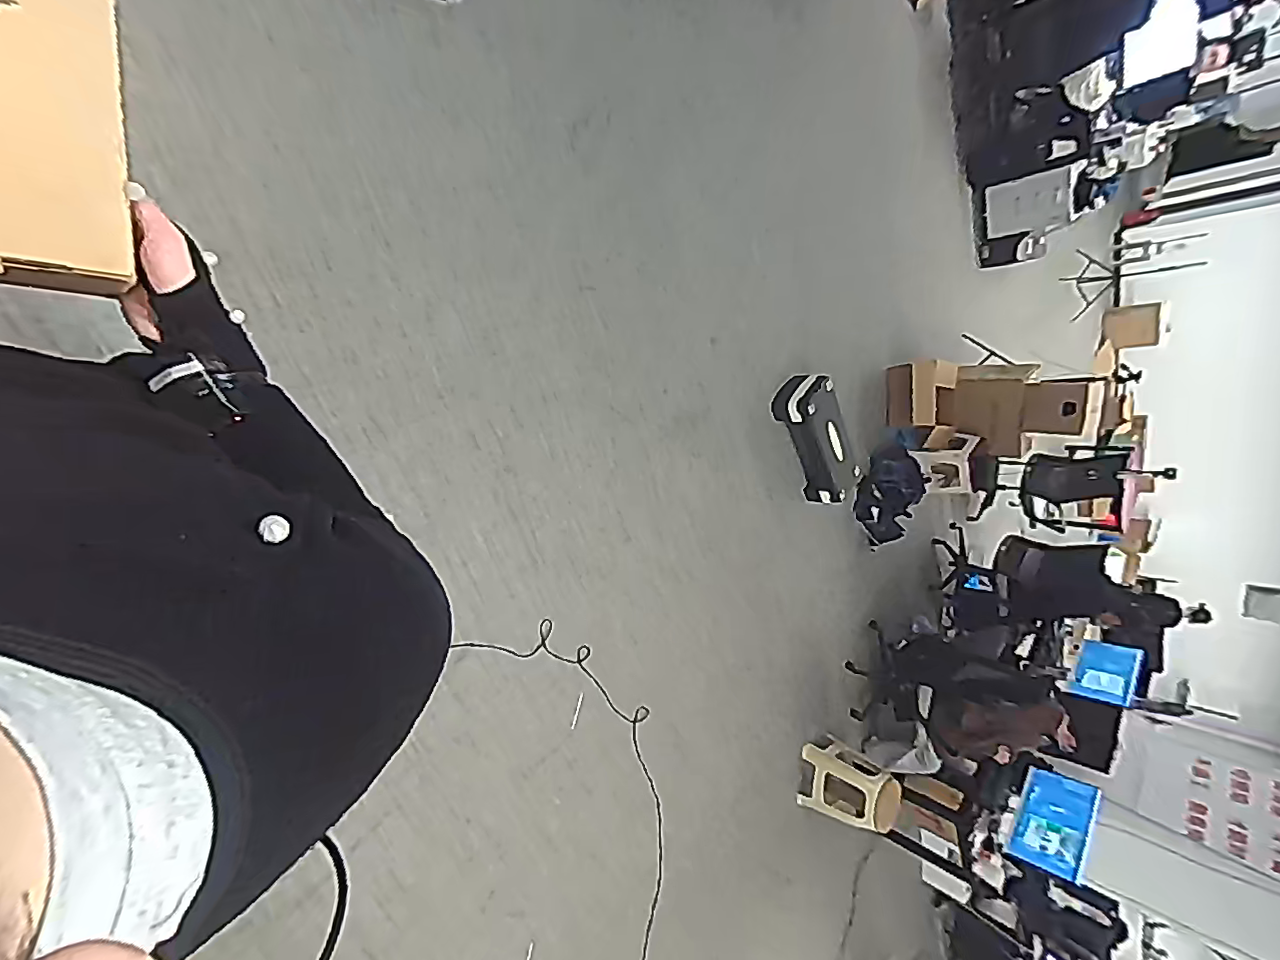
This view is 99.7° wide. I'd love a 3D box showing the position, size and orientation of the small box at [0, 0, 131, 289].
[{"bbox_3d":[-0.440,-0.225,0.337,0.168,0.176,0.179,-6,104,-47],"label":"small box"}]
